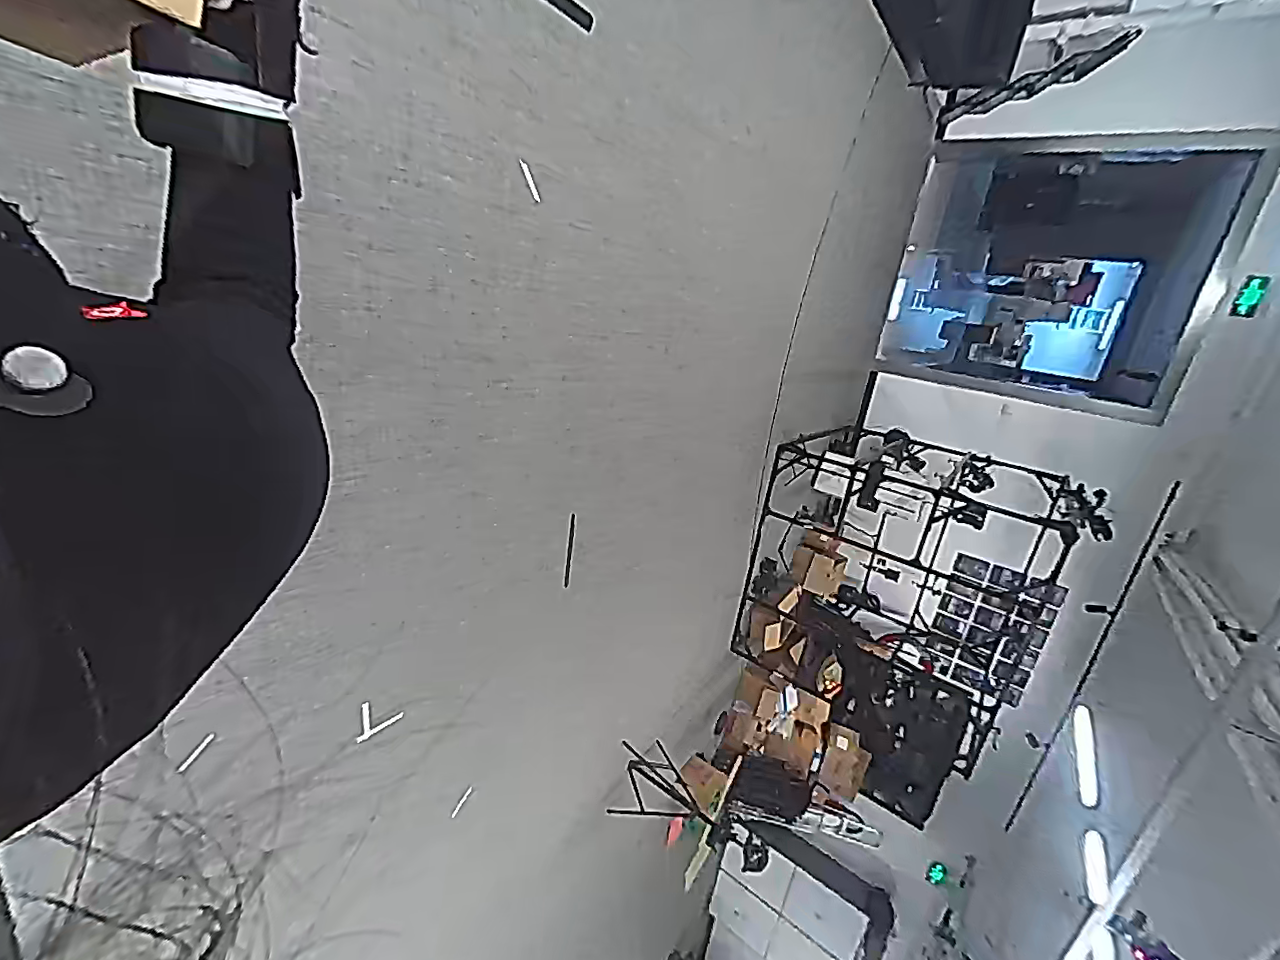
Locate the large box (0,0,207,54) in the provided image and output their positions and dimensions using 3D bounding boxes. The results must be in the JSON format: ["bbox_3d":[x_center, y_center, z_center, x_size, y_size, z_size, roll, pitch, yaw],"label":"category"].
[{"bbox_3d":[-0.461,-0.453,0.206,0.408,0.320,0.320,-7,116,-55],"label":"large box"}]
